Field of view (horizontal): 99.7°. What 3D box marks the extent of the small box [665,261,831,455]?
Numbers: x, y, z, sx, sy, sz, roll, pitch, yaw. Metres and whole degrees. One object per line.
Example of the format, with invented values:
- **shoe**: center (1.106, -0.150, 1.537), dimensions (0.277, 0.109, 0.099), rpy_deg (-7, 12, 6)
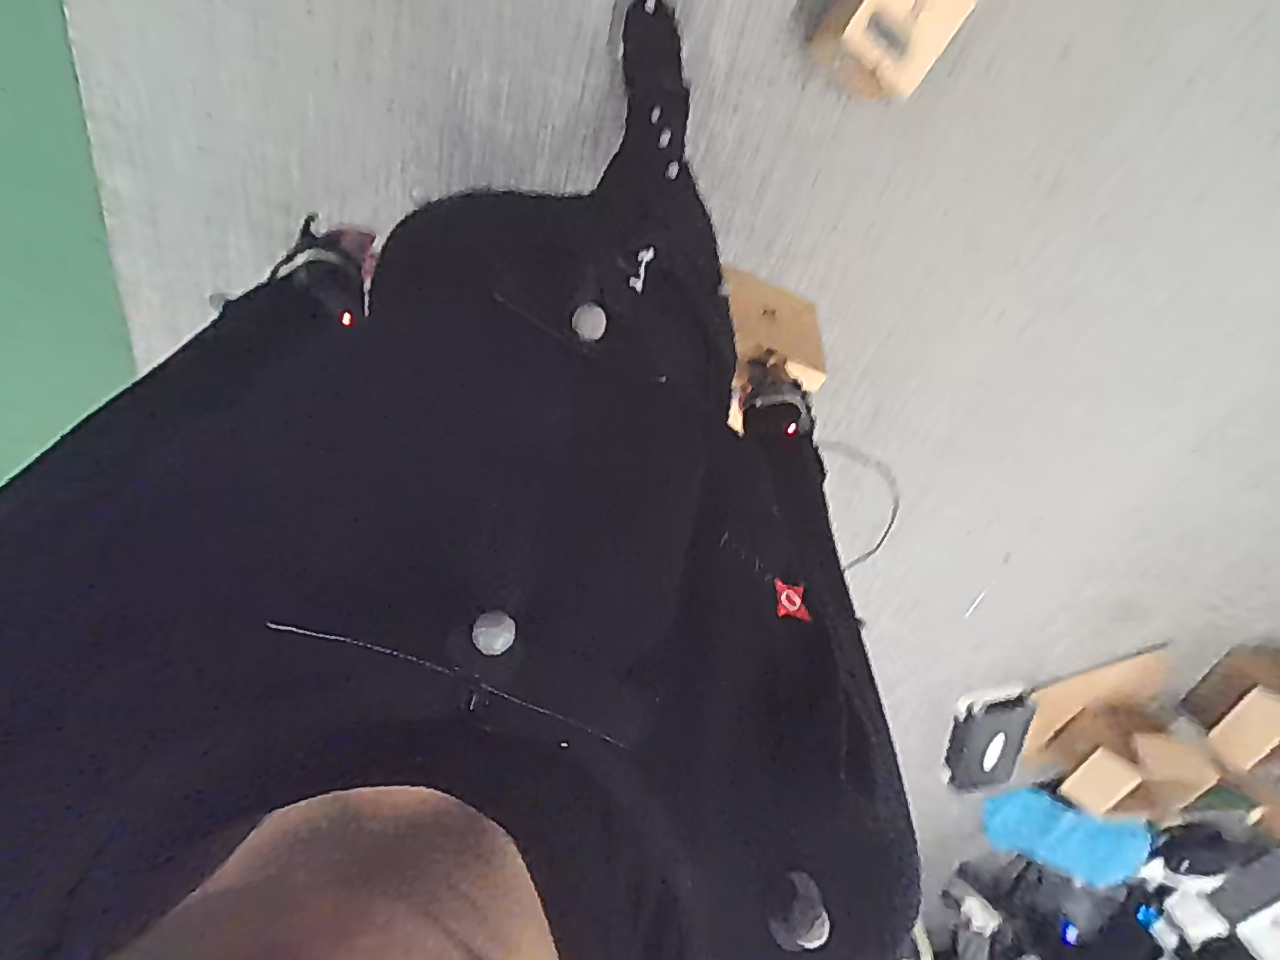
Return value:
- **small box**: center (0.145, -0.169, 0.771), dimensions (0.168, 0.179, 0.176), rpy_deg (18, 139, -11)
